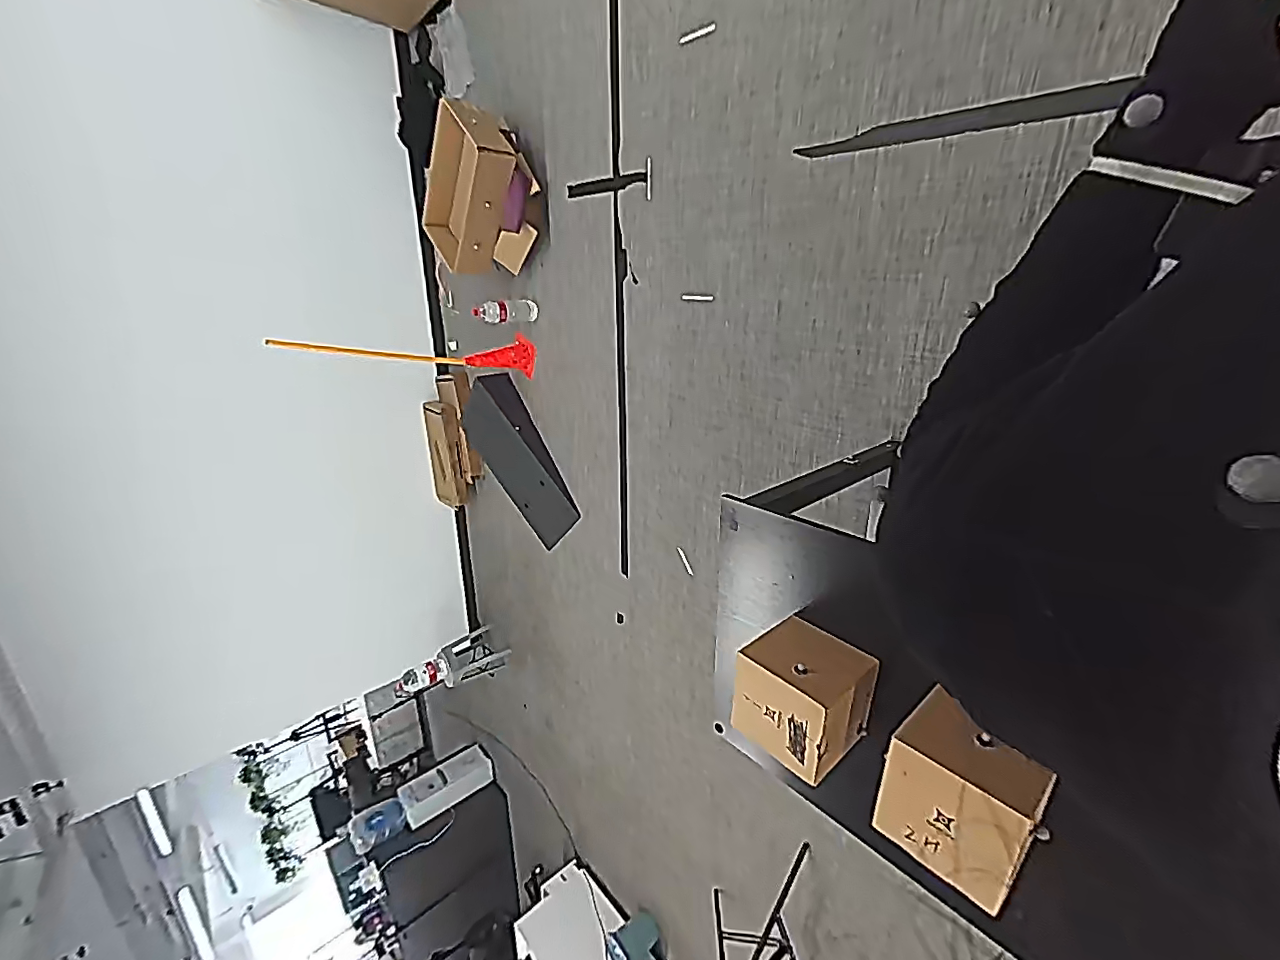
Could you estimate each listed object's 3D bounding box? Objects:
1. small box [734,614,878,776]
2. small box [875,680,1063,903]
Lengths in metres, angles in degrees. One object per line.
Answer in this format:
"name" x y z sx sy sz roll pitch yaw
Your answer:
"small box" 0.291 0.363 0.952 0.179 0.176 0.168 24 121 45
"small box" 0.464 0.421 0.764 0.168 0.176 0.179 23 120 45
